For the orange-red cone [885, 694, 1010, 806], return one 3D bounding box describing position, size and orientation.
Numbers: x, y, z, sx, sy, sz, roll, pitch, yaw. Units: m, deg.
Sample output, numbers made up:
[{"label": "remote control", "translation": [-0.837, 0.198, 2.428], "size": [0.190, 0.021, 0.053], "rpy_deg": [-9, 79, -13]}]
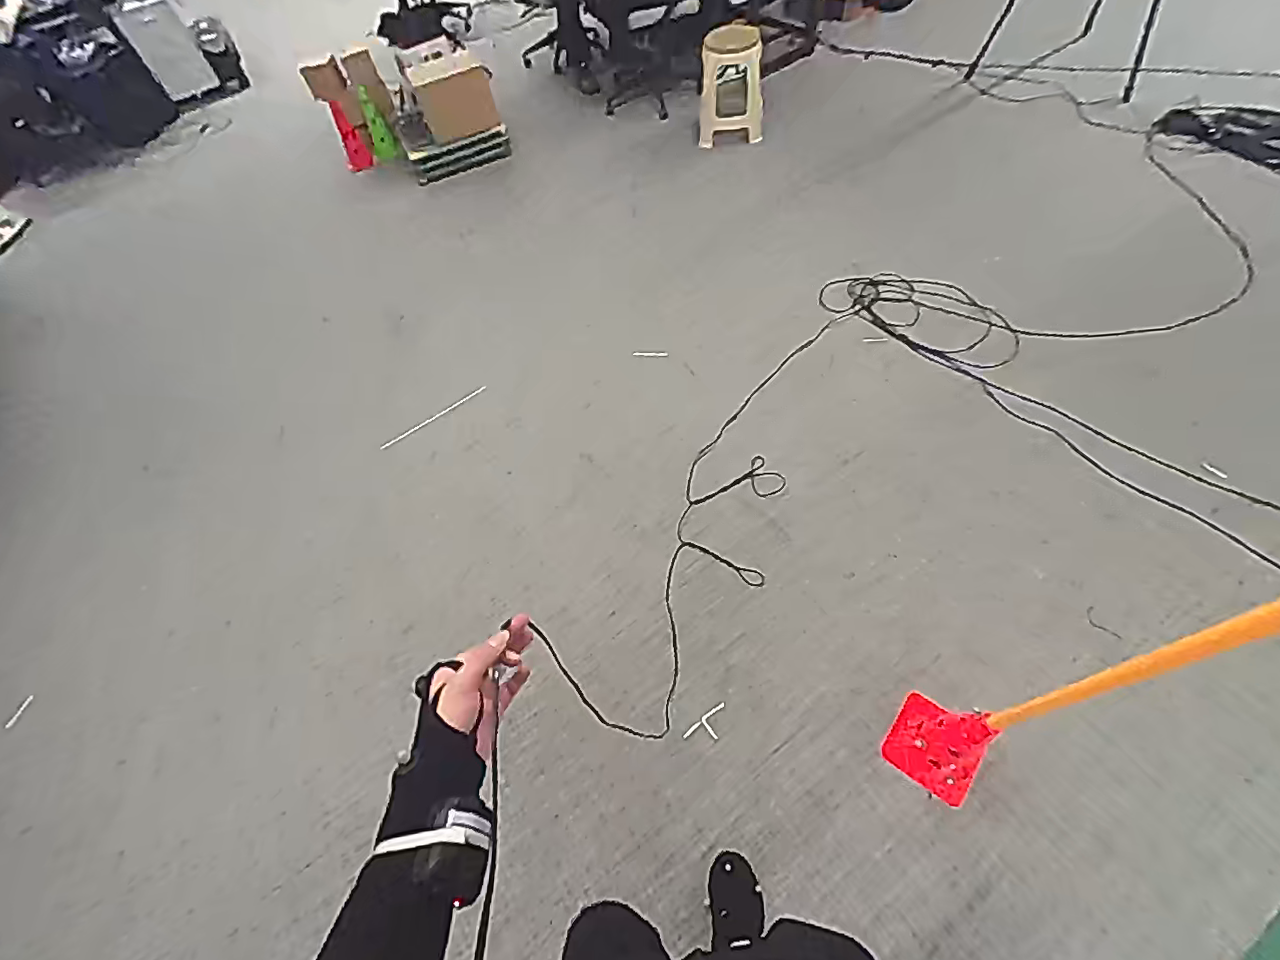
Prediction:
[{"label": "orange-red cone", "translation": [0.718, 0.568, 1.197], "size": [0.198, 0.360, 0.199], "rpy_deg": [33, 66, 25]}]
